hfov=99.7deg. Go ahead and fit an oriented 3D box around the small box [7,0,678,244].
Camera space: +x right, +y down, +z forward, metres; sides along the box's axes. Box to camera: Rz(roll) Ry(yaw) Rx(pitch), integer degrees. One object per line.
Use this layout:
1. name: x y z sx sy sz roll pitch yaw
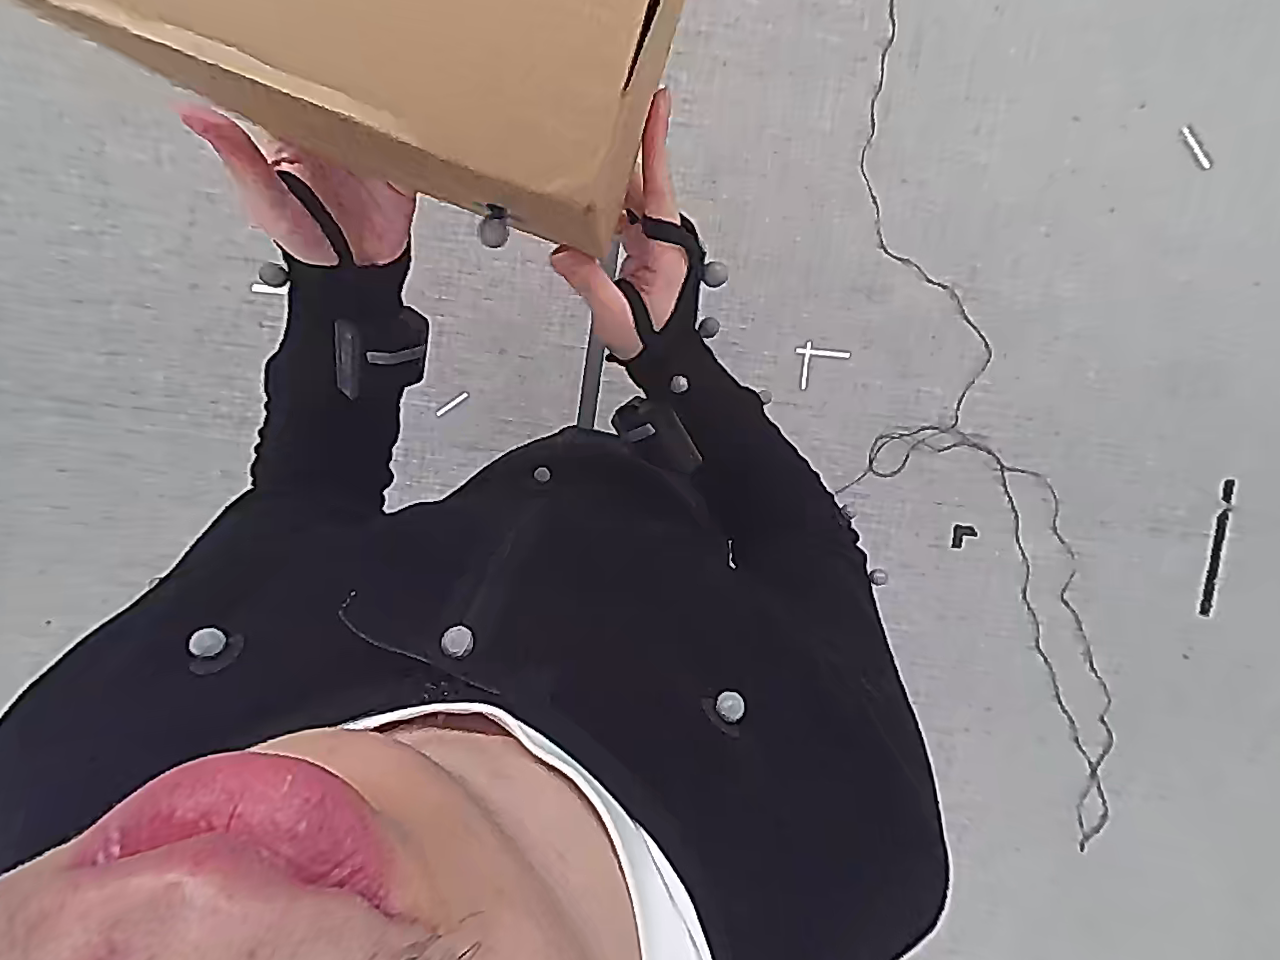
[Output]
1. small box: -0.073 -0.205 0.213 0.179 0.176 0.168 15 105 -7
